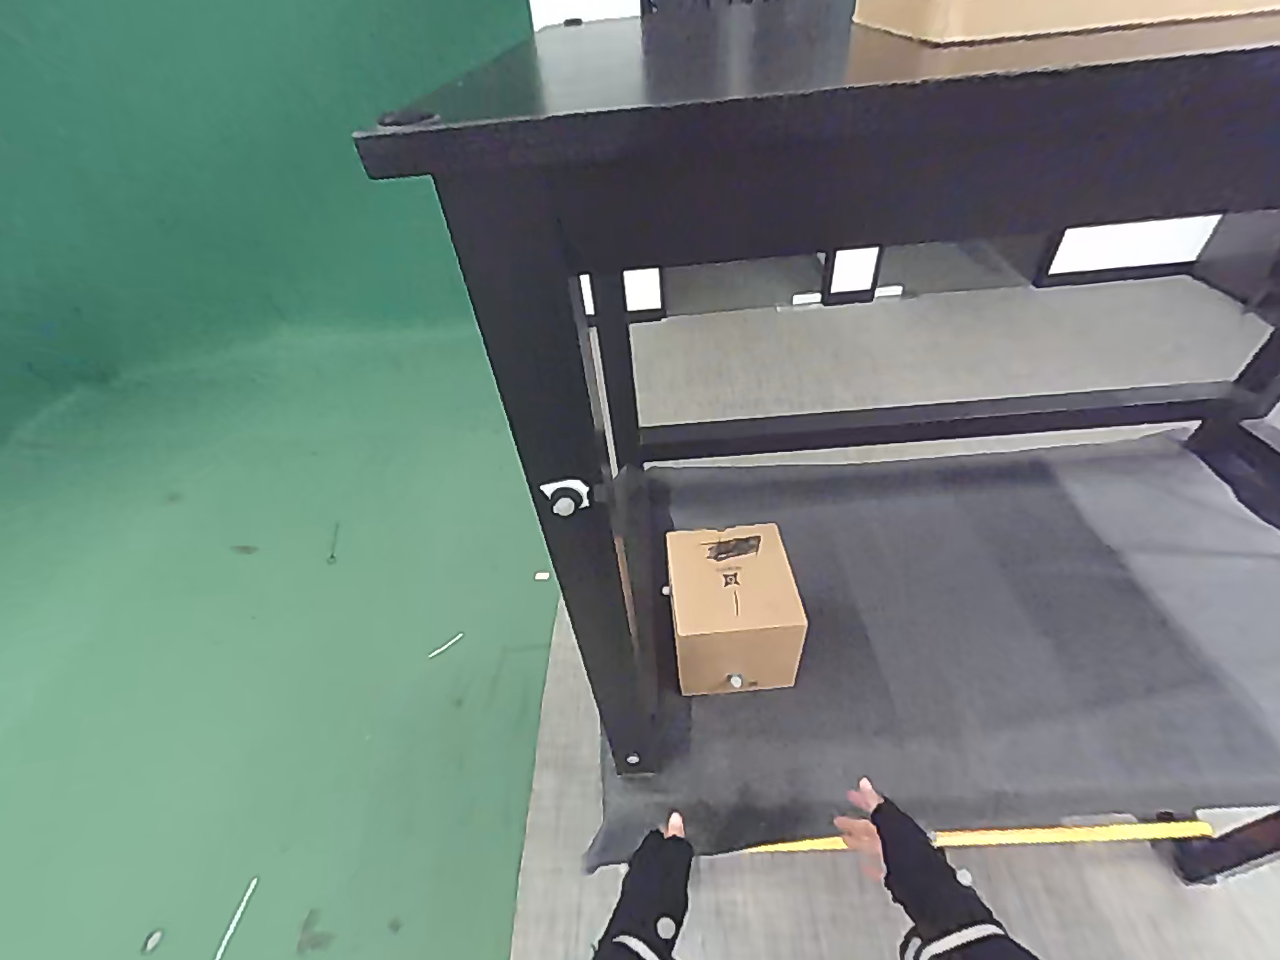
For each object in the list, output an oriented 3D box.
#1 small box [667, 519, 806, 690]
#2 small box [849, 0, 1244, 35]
[{"bbox_3d":[0.130,0.182,0.791,0.168,0.176,0.179,-6,43,1],"label":"small box"},{"bbox_3d":[0.210,-0.325,0.253,0.168,0.176,0.179,-2,42,6],"label":"small box"}]
